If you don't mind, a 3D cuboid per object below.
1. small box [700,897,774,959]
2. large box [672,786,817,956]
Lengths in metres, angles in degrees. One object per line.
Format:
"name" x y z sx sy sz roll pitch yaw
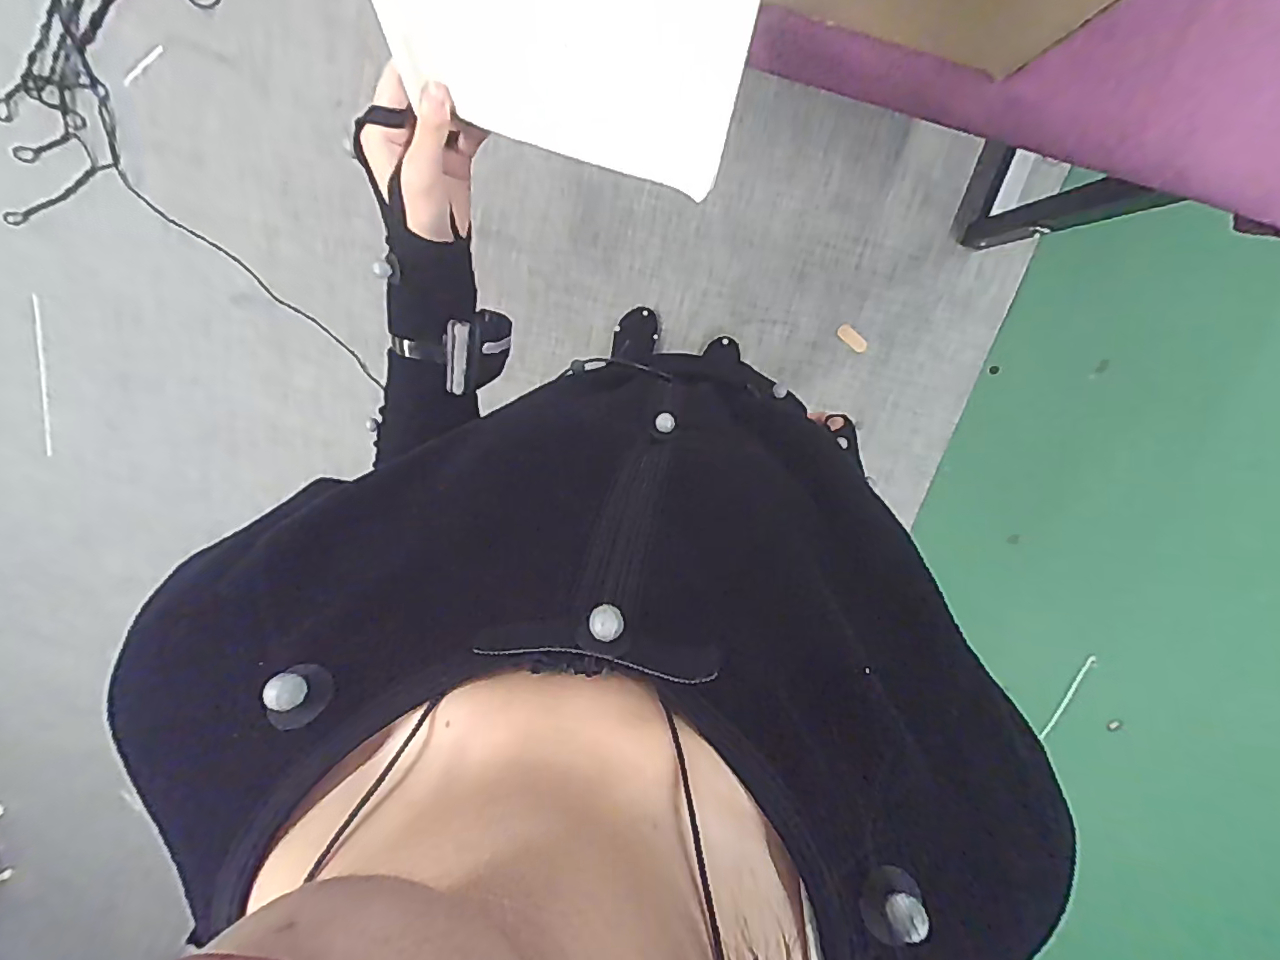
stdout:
"small box" 0.261 1.283 1.472 0.179 0.176 0.168 5 104 3
"large box" 0.305 1.217 1.707 0.408 0.320 0.320 2 107 2
